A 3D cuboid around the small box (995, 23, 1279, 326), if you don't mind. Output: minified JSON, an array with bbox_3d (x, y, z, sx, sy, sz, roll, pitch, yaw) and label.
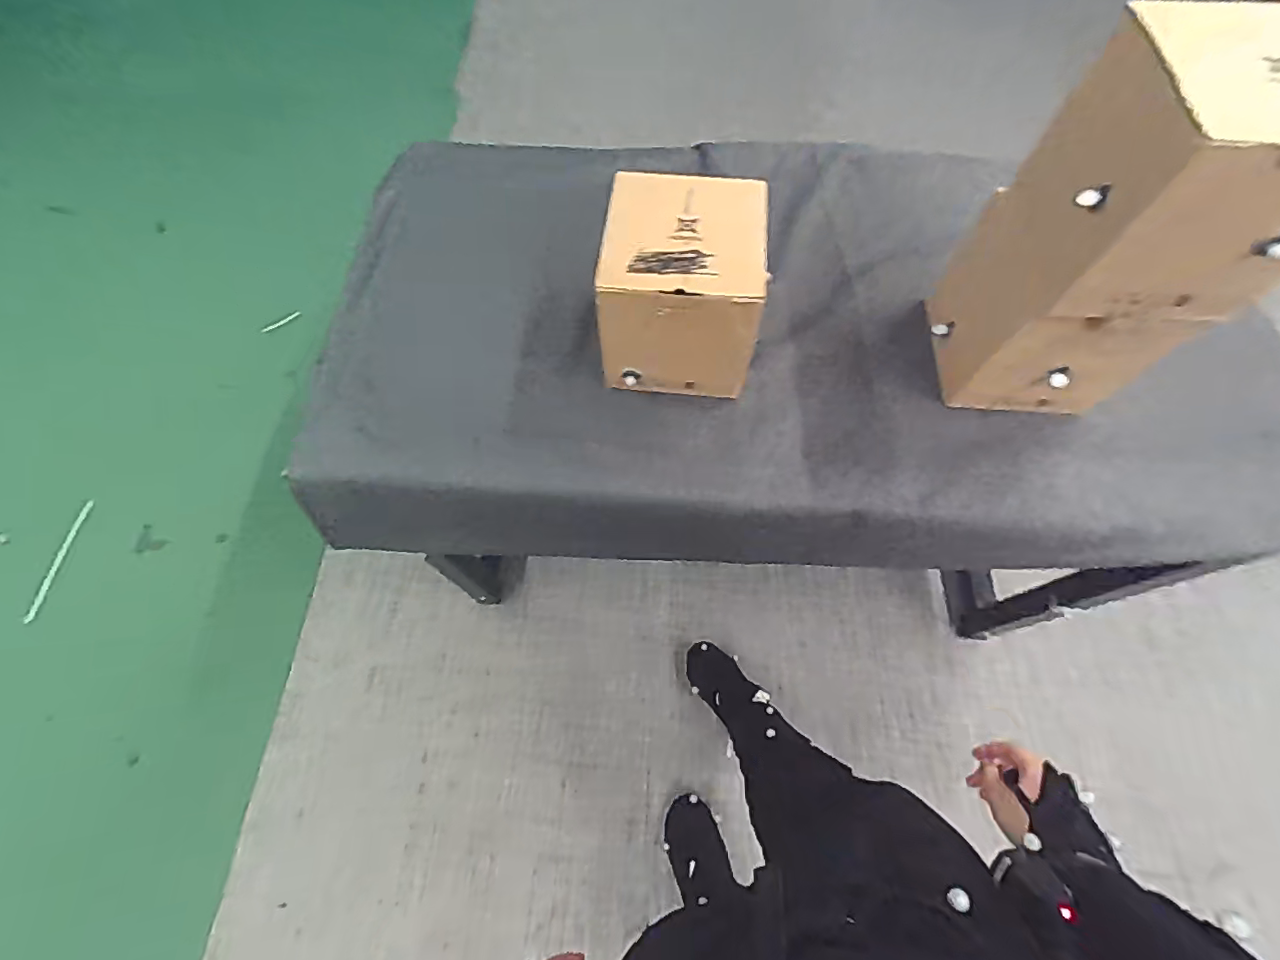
[{"bbox_3d":[0.453,-0.255,0.472,0.168,0.176,0.179,3,63,2],"label":"small box"}]

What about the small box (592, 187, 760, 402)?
[{"bbox_3d":[0.044,-0.211,0.638,0.168,0.176,0.179,5,63,3],"label":"small box"}]

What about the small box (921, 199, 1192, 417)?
[{"bbox_3d":[0.450,-0.188,0.620,0.168,0.176,0.179,4,64,3],"label":"small box"}]
